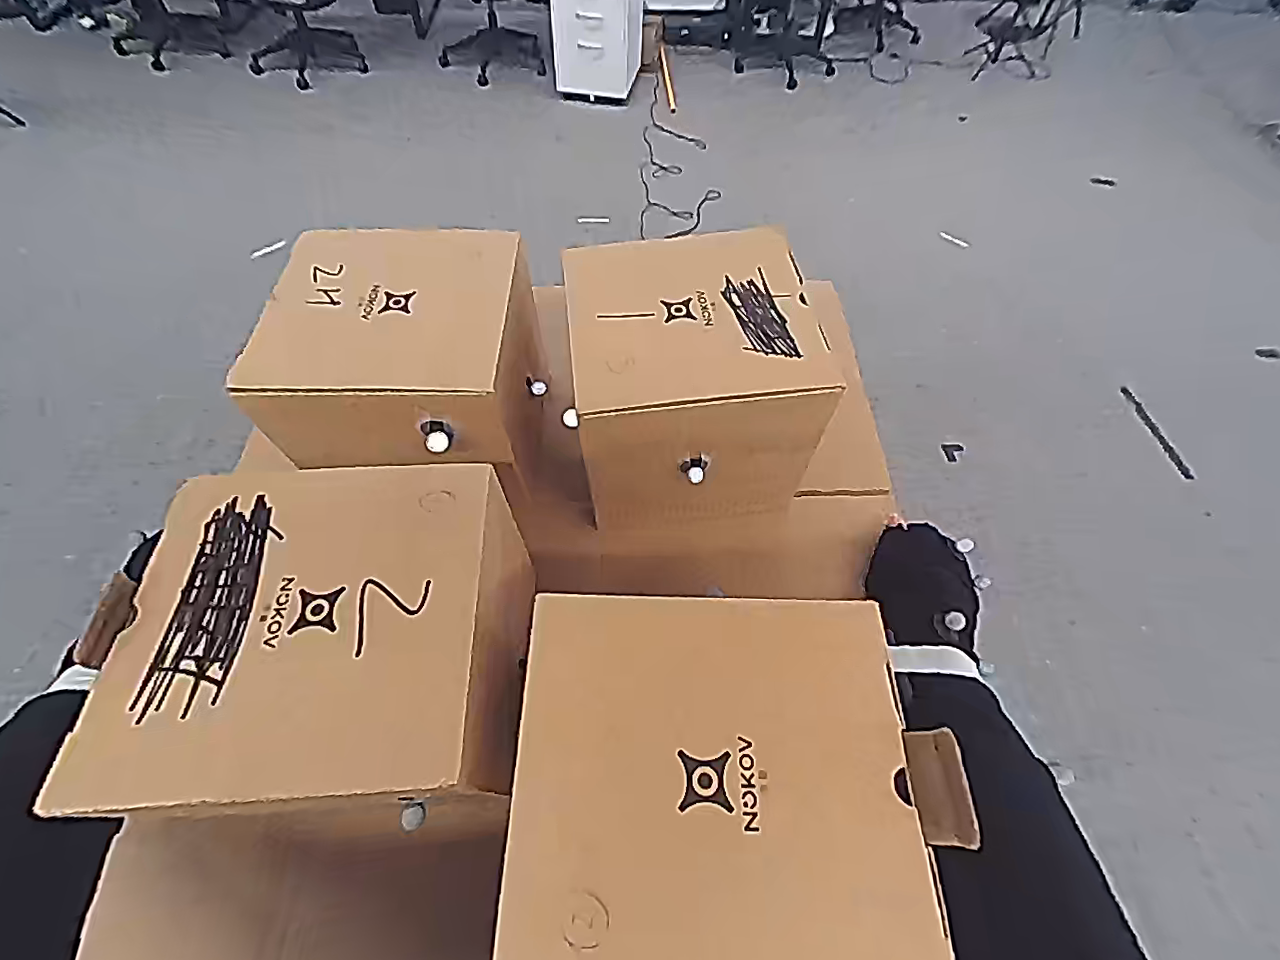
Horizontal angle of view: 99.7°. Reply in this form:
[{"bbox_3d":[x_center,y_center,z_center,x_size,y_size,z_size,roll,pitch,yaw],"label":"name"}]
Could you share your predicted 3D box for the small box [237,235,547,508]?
[{"bbox_3d":[-0.182,-0.085,0.468,0.179,0.176,0.168,0,59,1],"label":"small box"}]
